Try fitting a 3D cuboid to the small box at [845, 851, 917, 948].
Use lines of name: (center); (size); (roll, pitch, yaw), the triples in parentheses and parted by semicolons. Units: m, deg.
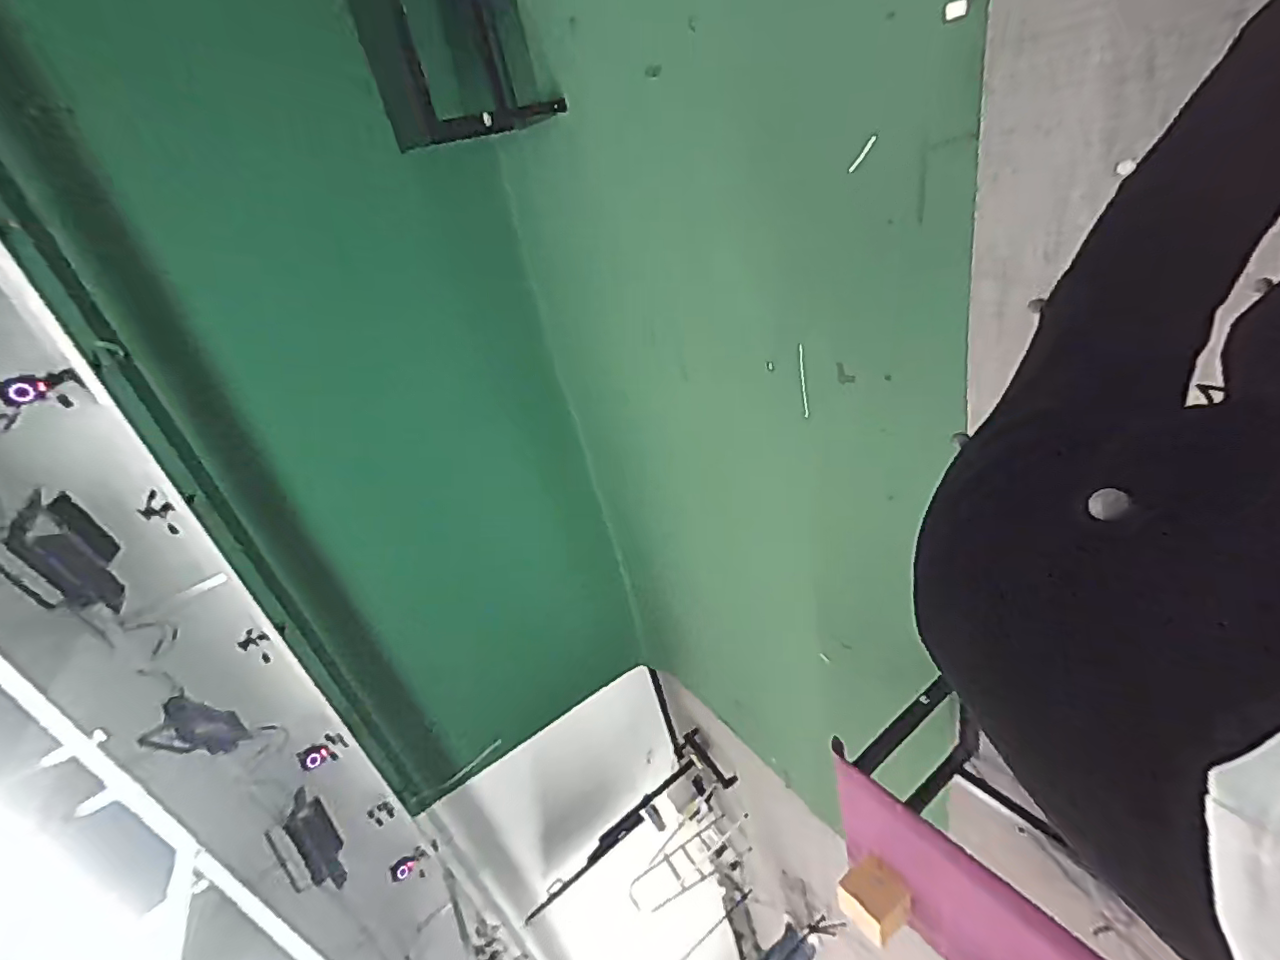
small box: (0.830, 1.436, 1.862); (0.168, 0.176, 0.179); (27, 138, 53)
